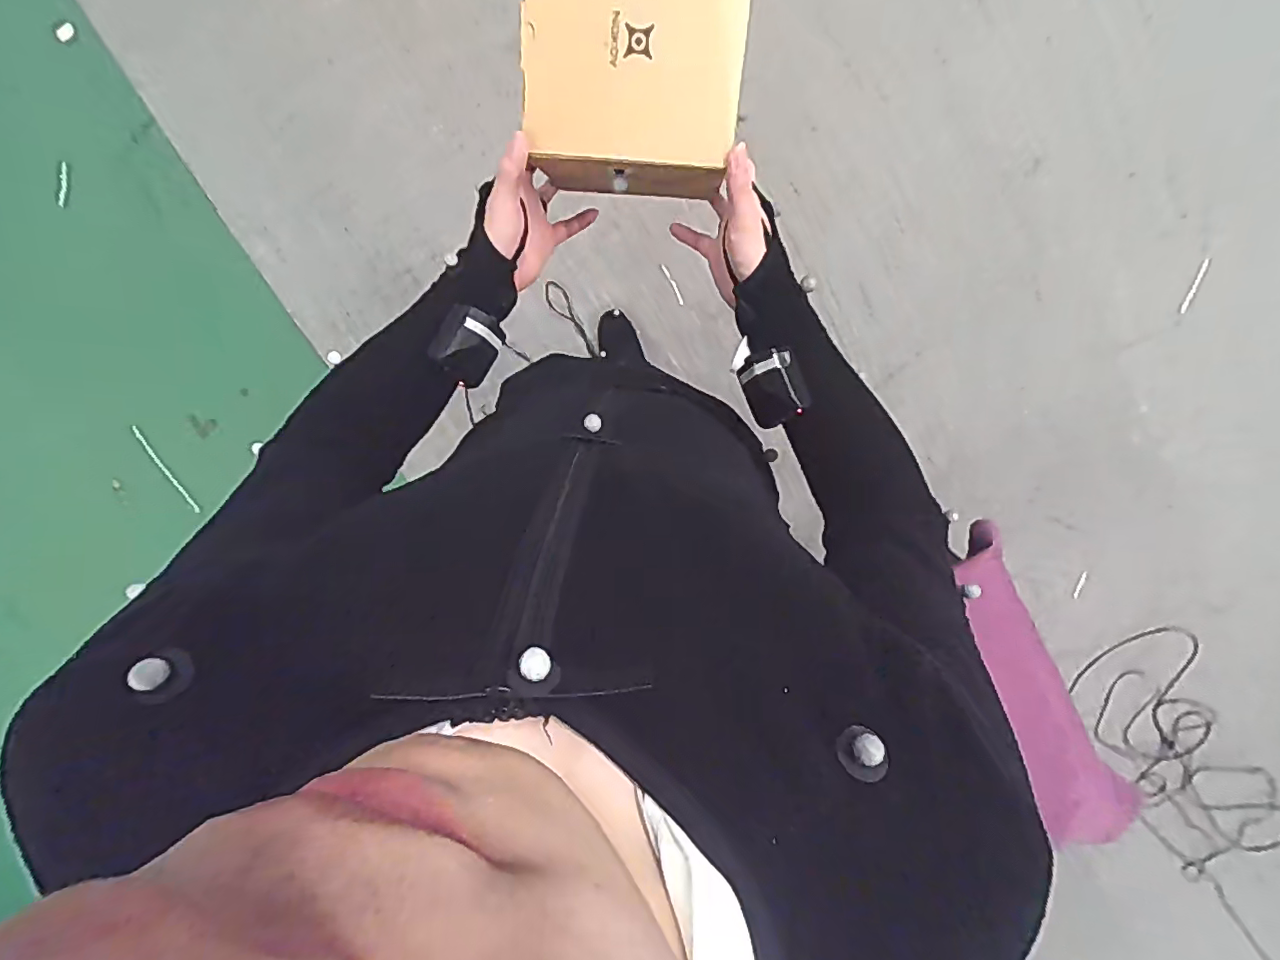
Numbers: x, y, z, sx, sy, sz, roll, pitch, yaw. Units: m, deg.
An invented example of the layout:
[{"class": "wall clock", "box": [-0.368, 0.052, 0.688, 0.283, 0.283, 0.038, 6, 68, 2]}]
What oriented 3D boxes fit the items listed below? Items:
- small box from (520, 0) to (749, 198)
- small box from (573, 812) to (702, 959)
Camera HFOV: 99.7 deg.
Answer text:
[{"class": "small box", "box": [-0.003, -0.364, 0.494, 0.179, 0.176, 0.168, 5, 110, 3]}, {"class": "small box", "box": [-0.002, 0.765, 1.008, 0.179, 0.176, 0.168, -27, 102, 9]}]
